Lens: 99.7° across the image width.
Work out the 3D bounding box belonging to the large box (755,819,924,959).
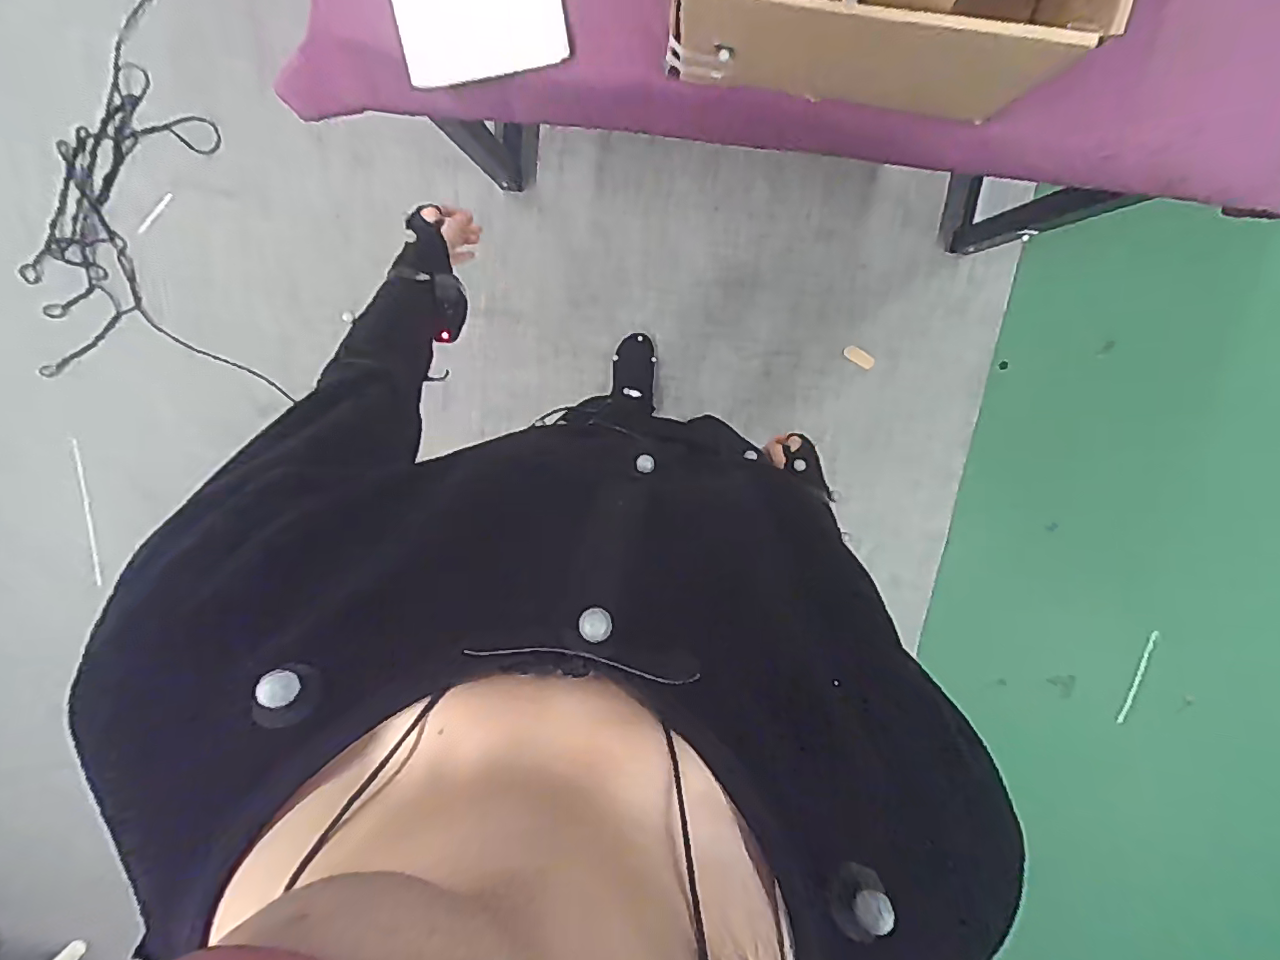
[{"bbox_3d":[0.590,1.299,1.648,0.408,0.320,0.320,-8,103,3],"label":"large box"}]
